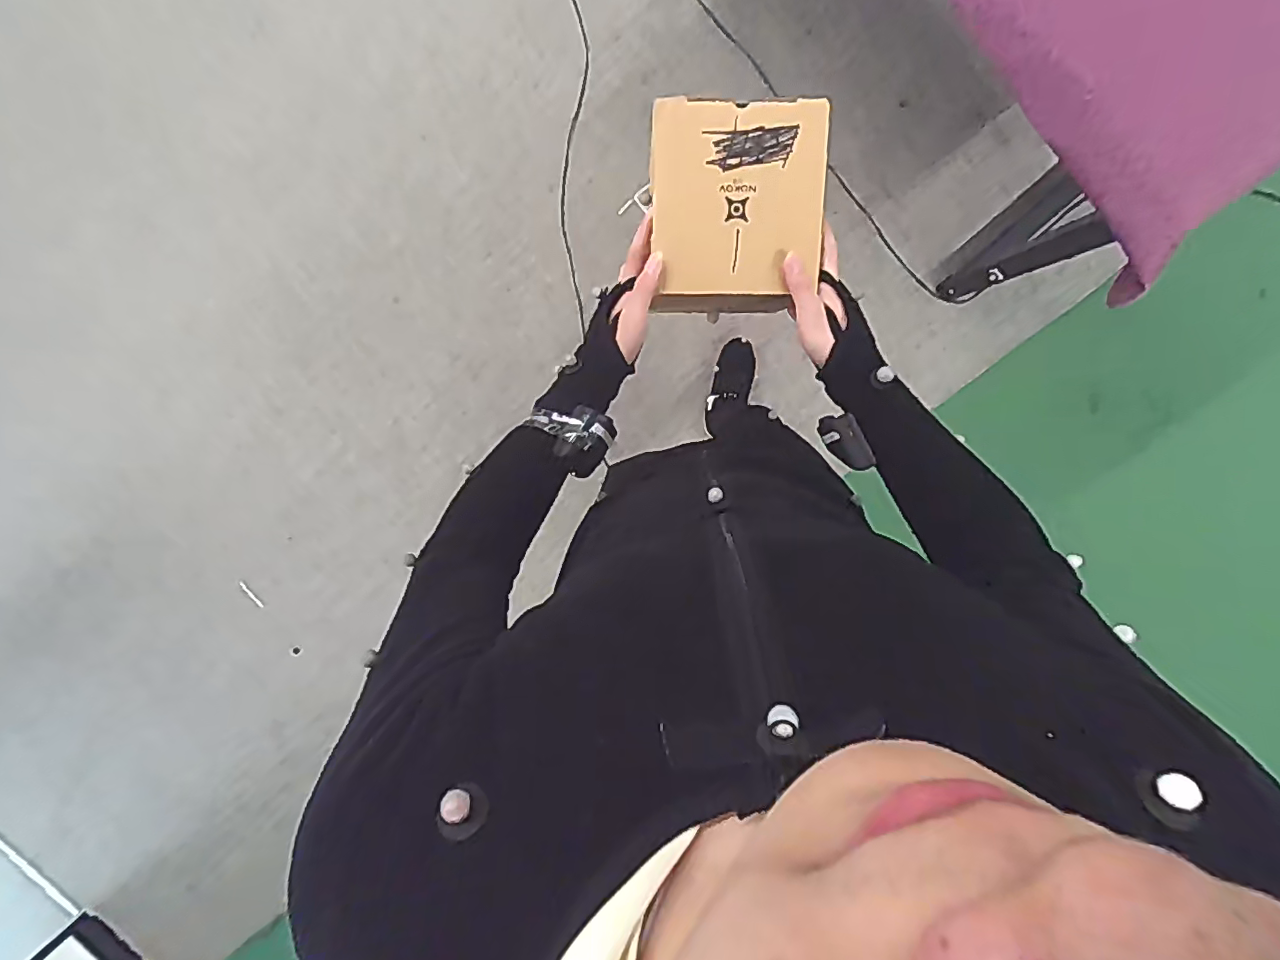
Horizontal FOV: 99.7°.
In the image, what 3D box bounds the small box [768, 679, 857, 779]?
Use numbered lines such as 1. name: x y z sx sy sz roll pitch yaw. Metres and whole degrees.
1. small box: 0.509 0.737 1.617 0.168 0.176 0.179 -37 95 8
